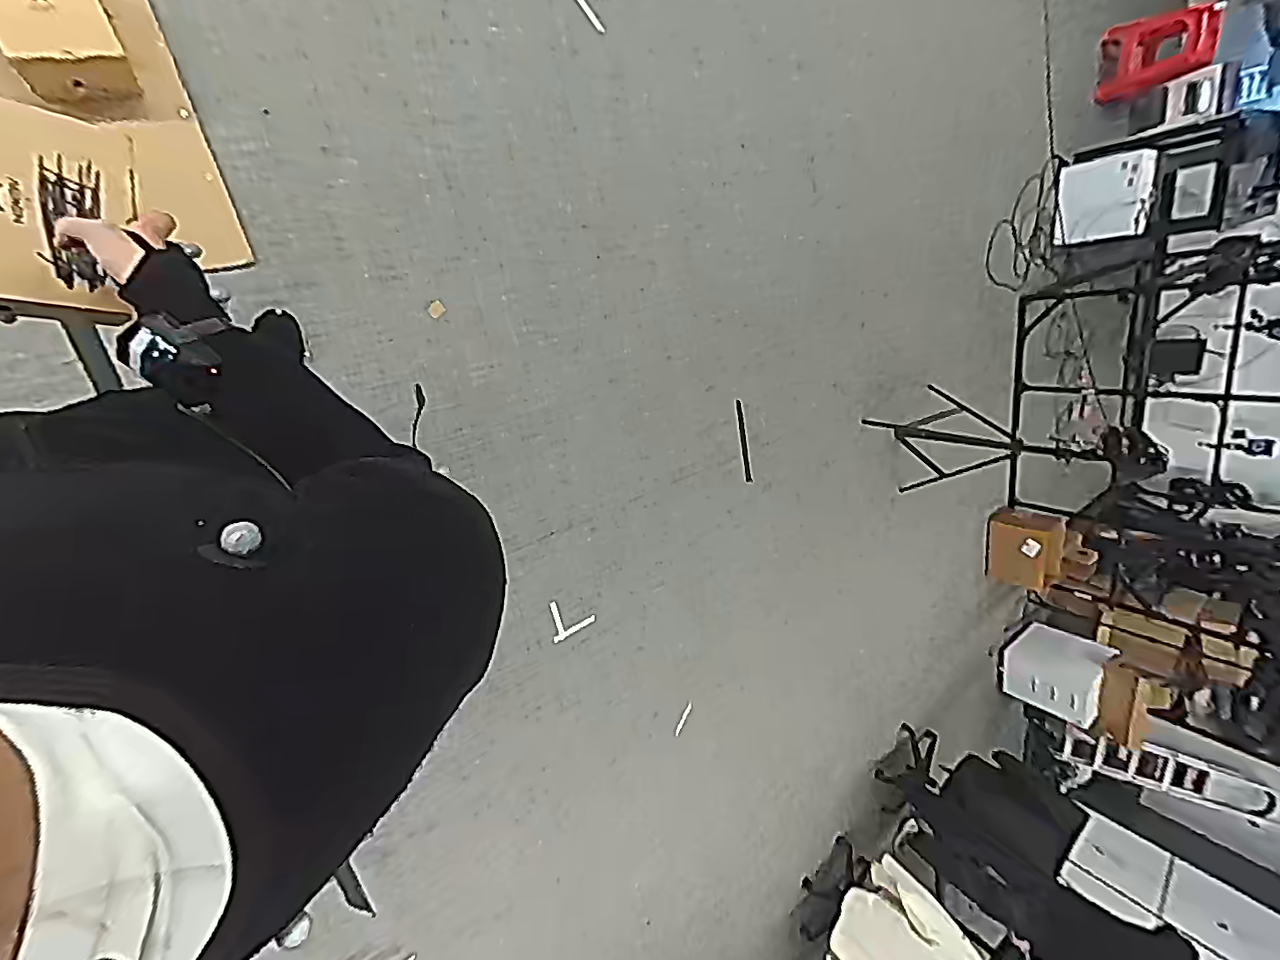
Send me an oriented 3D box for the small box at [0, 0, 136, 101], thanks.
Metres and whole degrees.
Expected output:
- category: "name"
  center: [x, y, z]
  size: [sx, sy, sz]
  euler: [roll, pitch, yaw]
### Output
- category: "small box"
  center: [-1.071, -0.824, 0.980]
  size: [0.168, 0.176, 0.179]
  euler: [-27, 114, -27]
